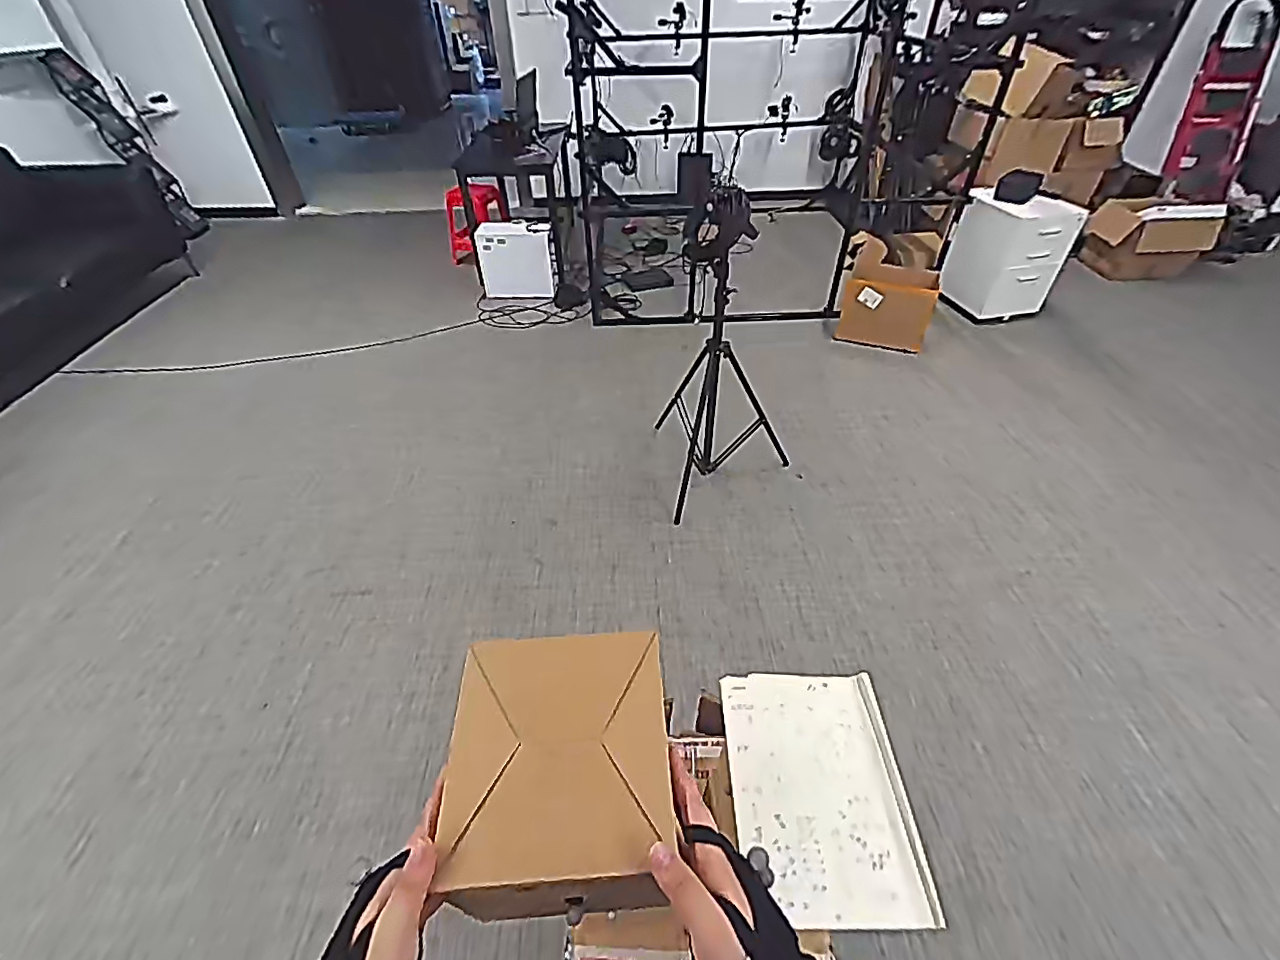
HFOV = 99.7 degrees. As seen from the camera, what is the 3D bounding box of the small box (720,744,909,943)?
[{"bbox_3d":[0.197,0.454,0.677,0.168,0.176,0.179,1,45,-1],"label":"small box"}]
